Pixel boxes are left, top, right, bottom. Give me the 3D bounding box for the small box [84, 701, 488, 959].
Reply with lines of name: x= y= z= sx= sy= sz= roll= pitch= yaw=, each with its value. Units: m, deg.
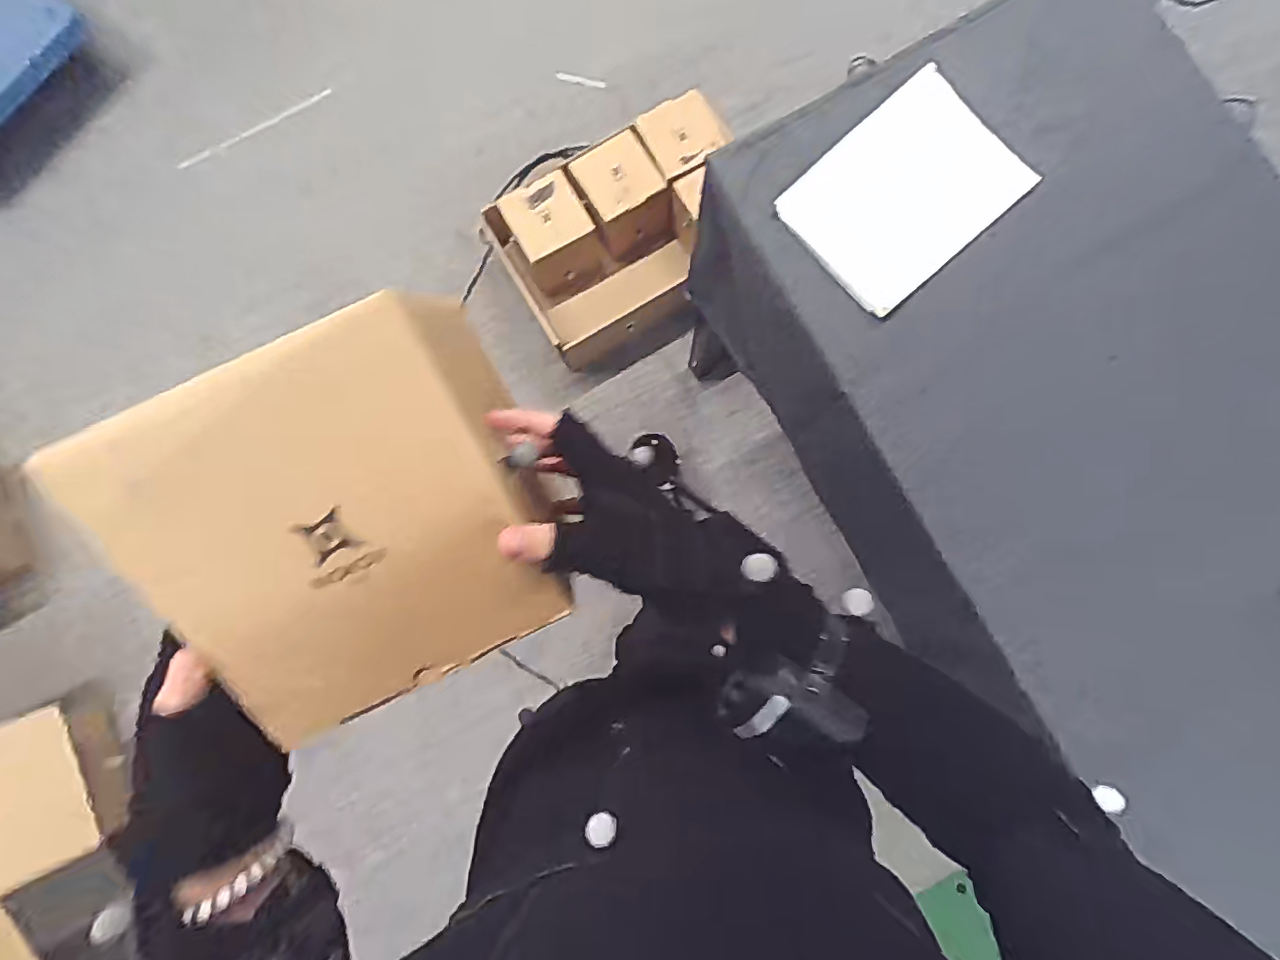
small box: x=-0.210 y=0.241 z=0.327 sx=0.176 sy=0.168 sz=0.179 roll=-31 pitch=53 yaw=38
